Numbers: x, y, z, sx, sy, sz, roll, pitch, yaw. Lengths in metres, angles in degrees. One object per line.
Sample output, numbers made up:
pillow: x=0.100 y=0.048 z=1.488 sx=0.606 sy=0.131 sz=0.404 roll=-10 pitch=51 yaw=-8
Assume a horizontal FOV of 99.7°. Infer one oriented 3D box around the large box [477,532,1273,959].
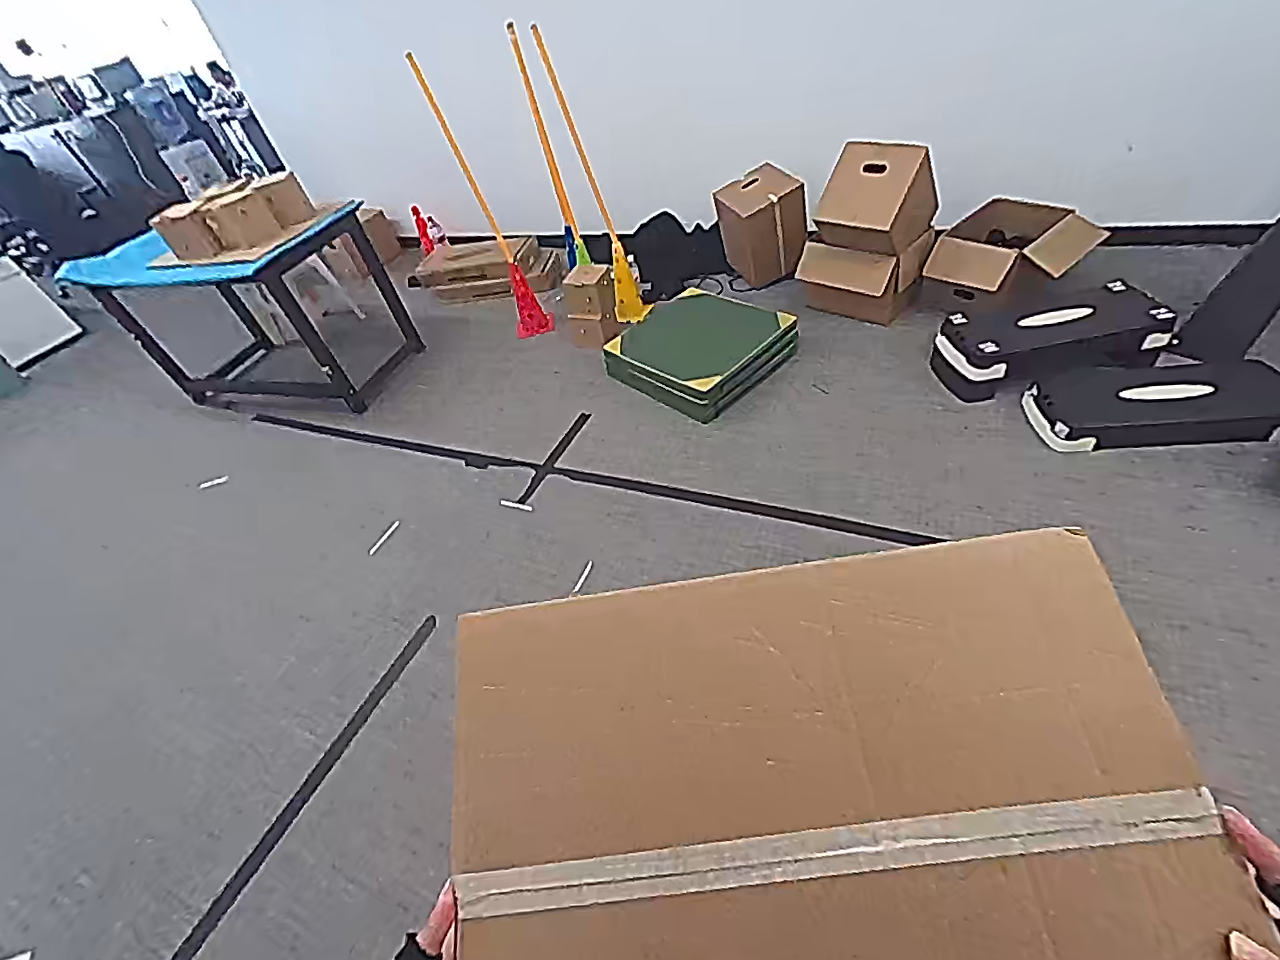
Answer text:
large box: x=0.119 y=0.262 z=0.436 sx=0.408 sy=0.320 sz=0.320 roll=-9 pitch=67 yaw=4
